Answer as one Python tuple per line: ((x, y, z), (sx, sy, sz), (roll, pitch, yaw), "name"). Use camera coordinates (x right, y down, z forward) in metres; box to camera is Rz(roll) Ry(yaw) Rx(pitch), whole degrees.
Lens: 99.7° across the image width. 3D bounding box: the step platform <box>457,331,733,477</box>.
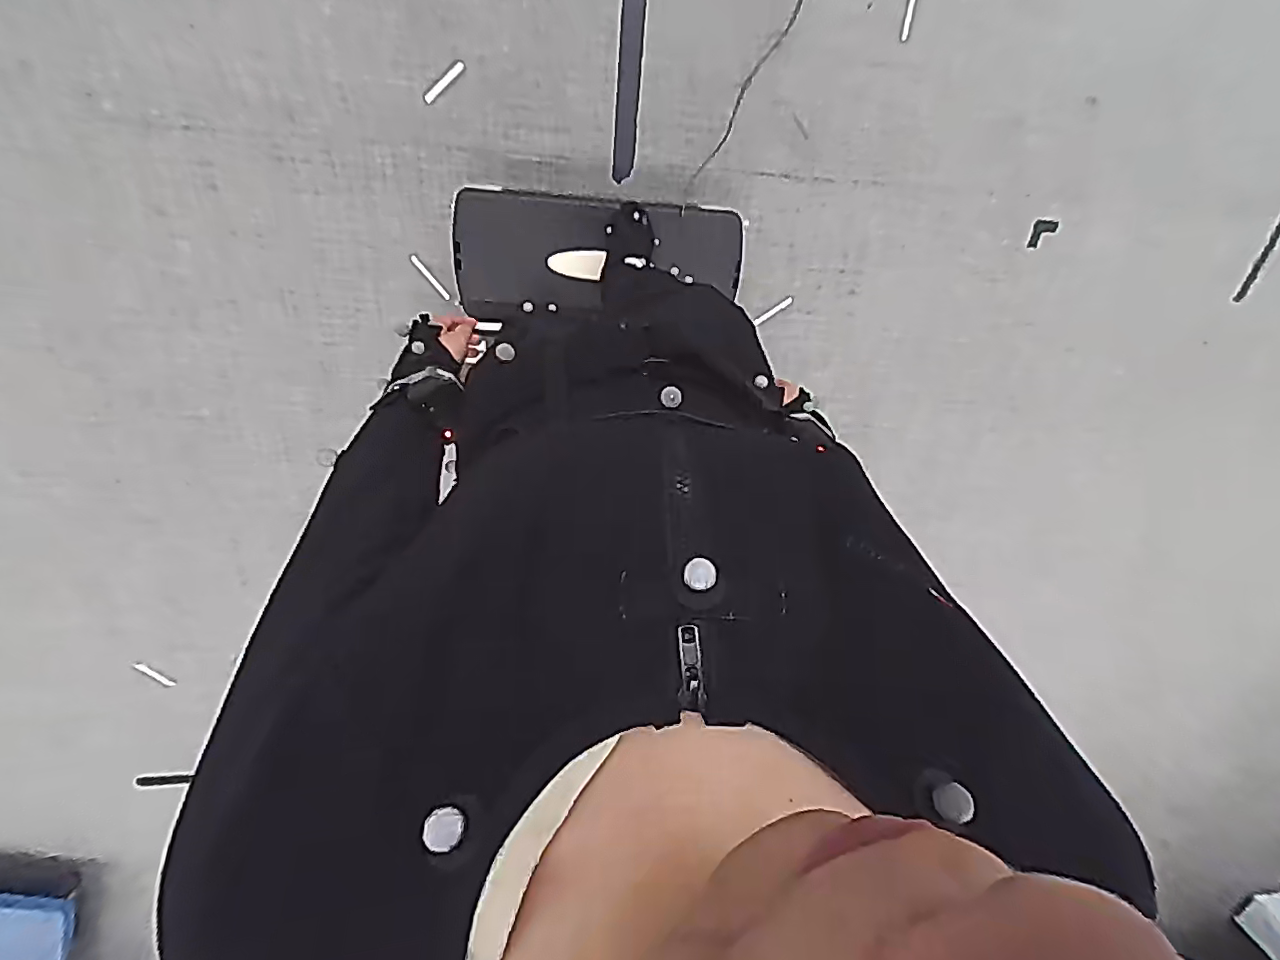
((-0.111, -0.189, 1.385), (0.684, 0.204, 0.286), (5, 114, -9), "step platform")
